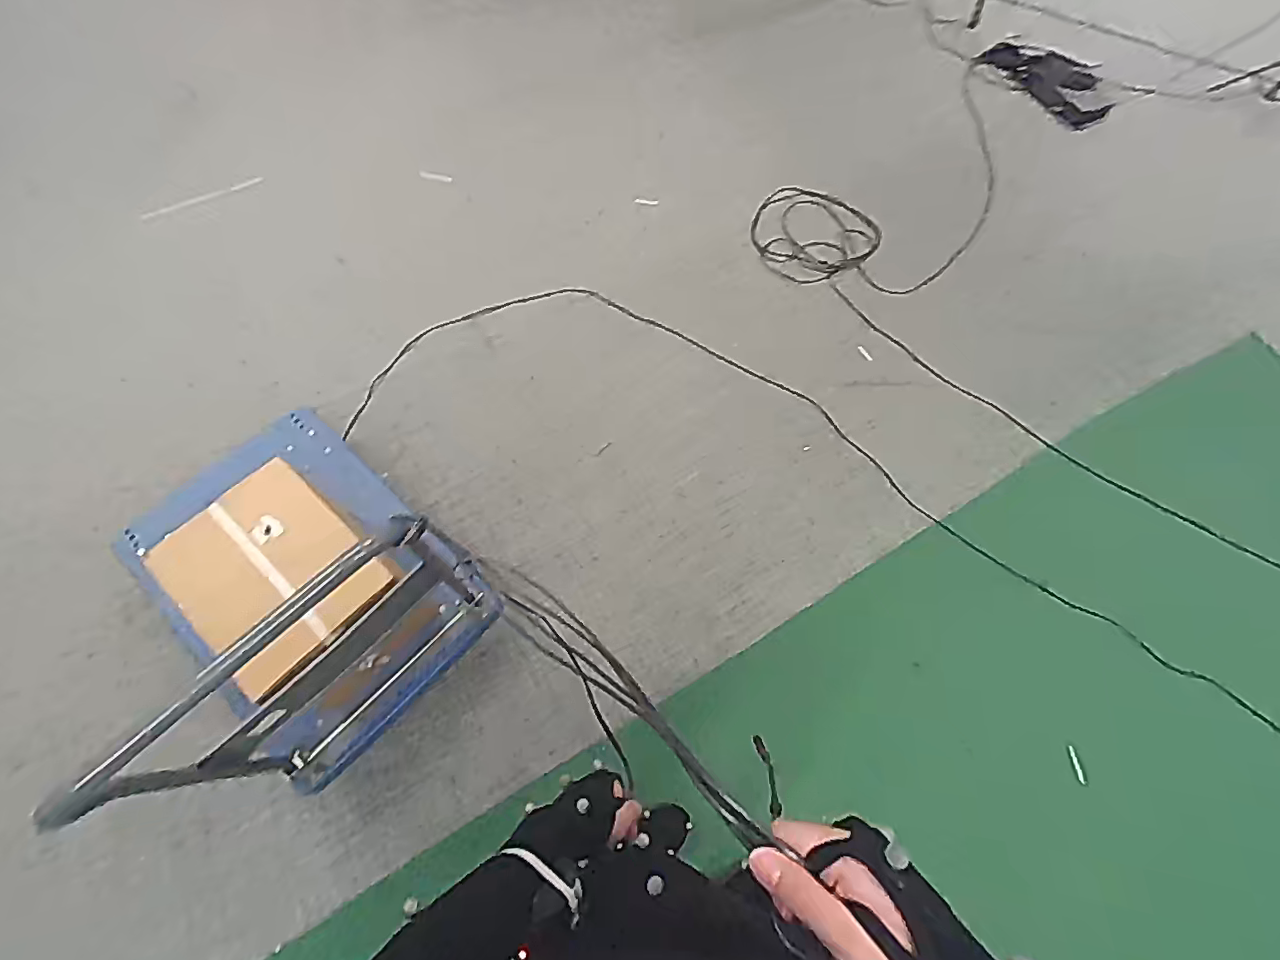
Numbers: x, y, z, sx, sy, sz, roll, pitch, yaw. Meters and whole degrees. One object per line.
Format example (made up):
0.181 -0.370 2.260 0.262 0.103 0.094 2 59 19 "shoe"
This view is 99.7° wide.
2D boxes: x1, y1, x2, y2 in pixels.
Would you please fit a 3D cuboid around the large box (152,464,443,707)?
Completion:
-0.725 0.244 1.206 0.408 0.320 0.320 38 69 16 "large box"
